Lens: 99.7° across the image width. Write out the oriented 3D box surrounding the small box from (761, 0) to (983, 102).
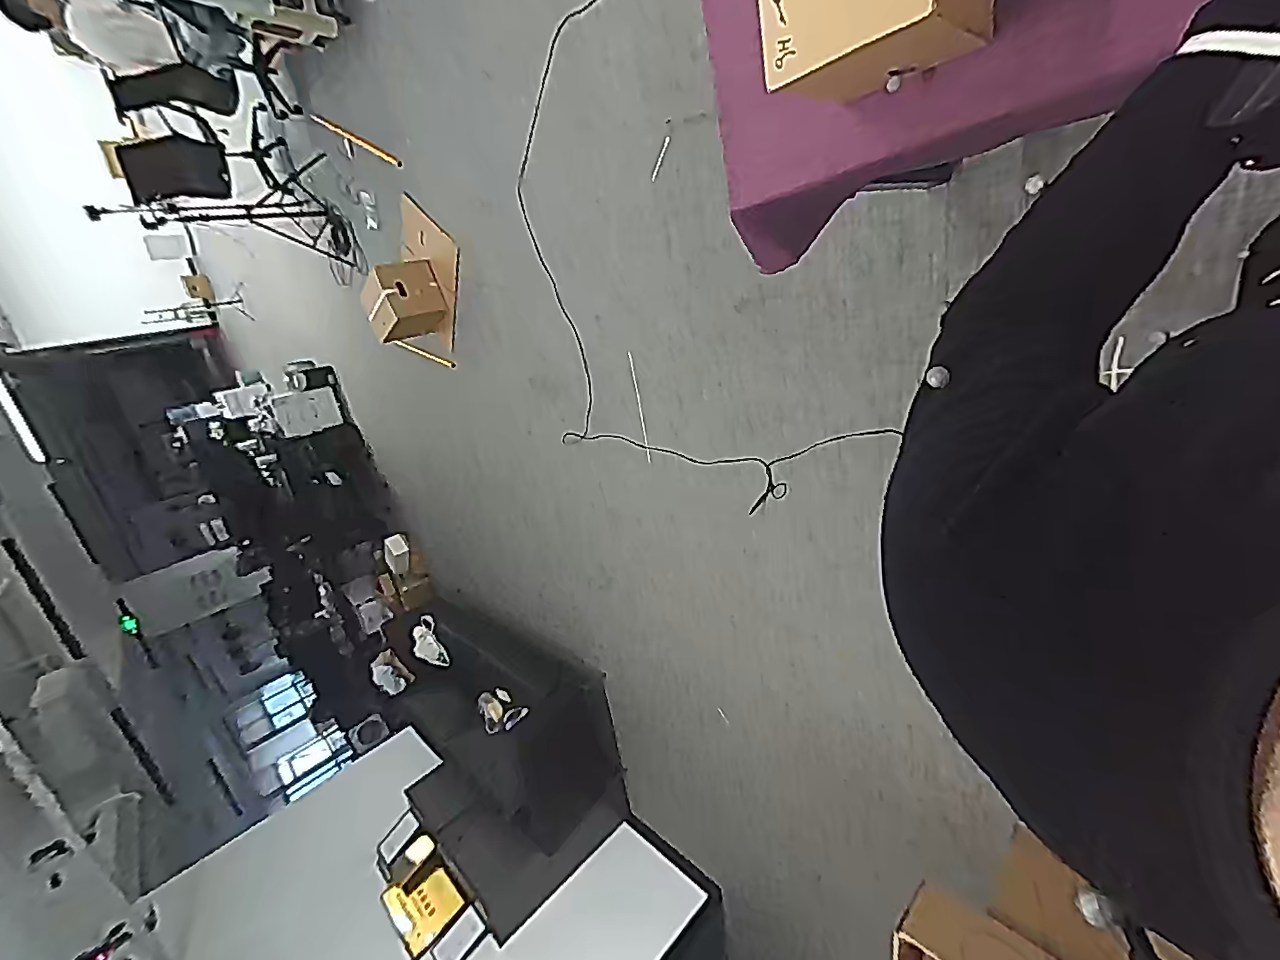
[{"bbox_3d":[0.246,-0.525,0.568,0.179,0.176,0.168,10,117,46],"label":"small box"}]
